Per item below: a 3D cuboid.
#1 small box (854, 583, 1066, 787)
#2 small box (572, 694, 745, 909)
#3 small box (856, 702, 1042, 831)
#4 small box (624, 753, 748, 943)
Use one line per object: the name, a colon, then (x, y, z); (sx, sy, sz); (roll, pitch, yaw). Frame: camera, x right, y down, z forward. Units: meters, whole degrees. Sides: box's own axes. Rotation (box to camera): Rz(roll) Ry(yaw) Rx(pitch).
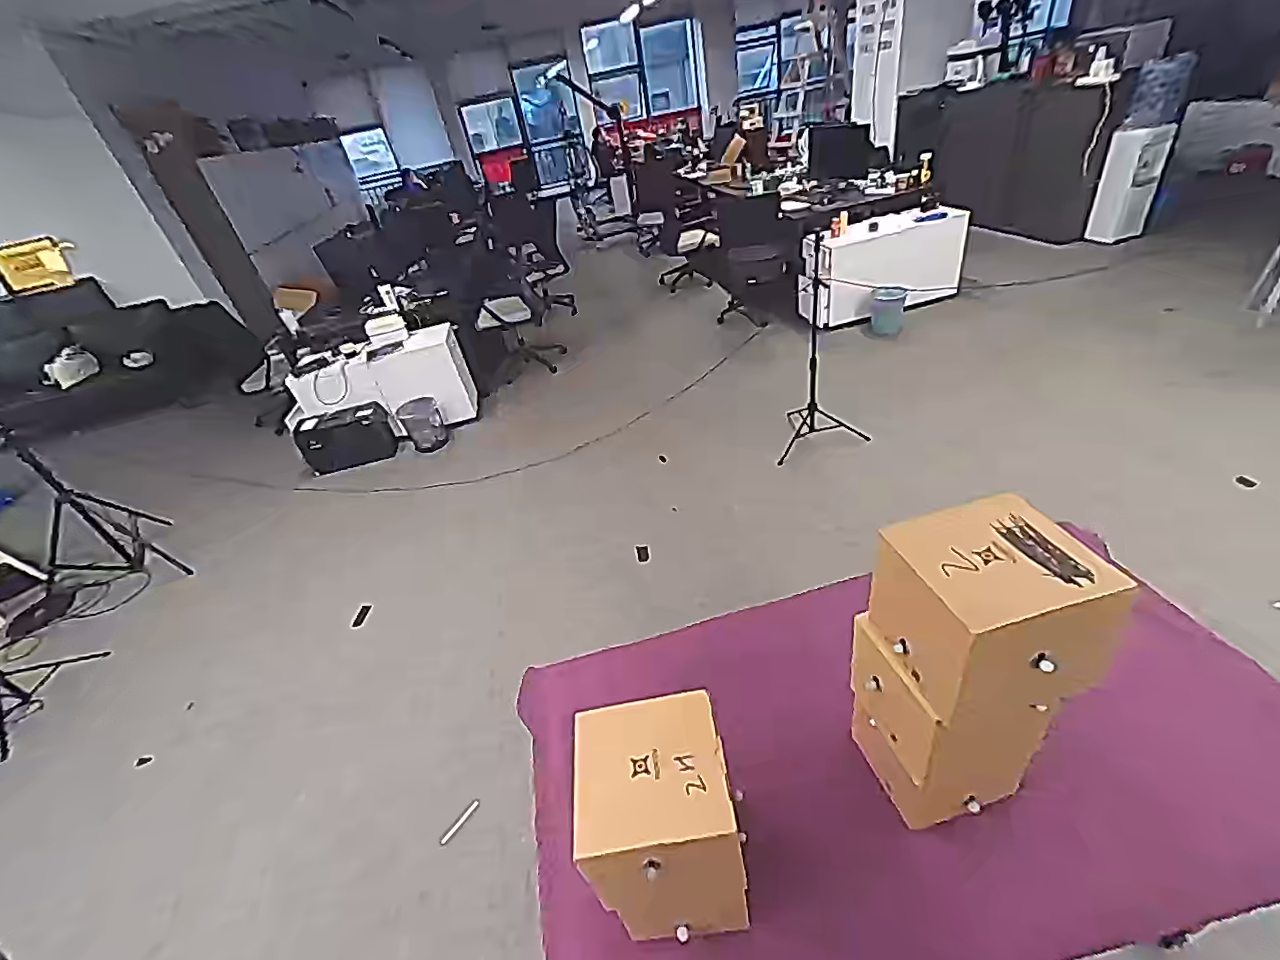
small box: (0.407, 0.273, 0.722); (0.179, 0.176, 0.168); (-16, 35, -6)
small box: (0.023, 0.396, 0.664); (0.179, 0.176, 0.168); (-10, 36, 2)
small box: (0.452, 0.393, 0.825); (0.179, 0.176, 0.168); (-16, 34, -6)
small box: (0.056, 0.519, 0.769); (0.168, 0.176, 0.179); (-9, 37, 4)
